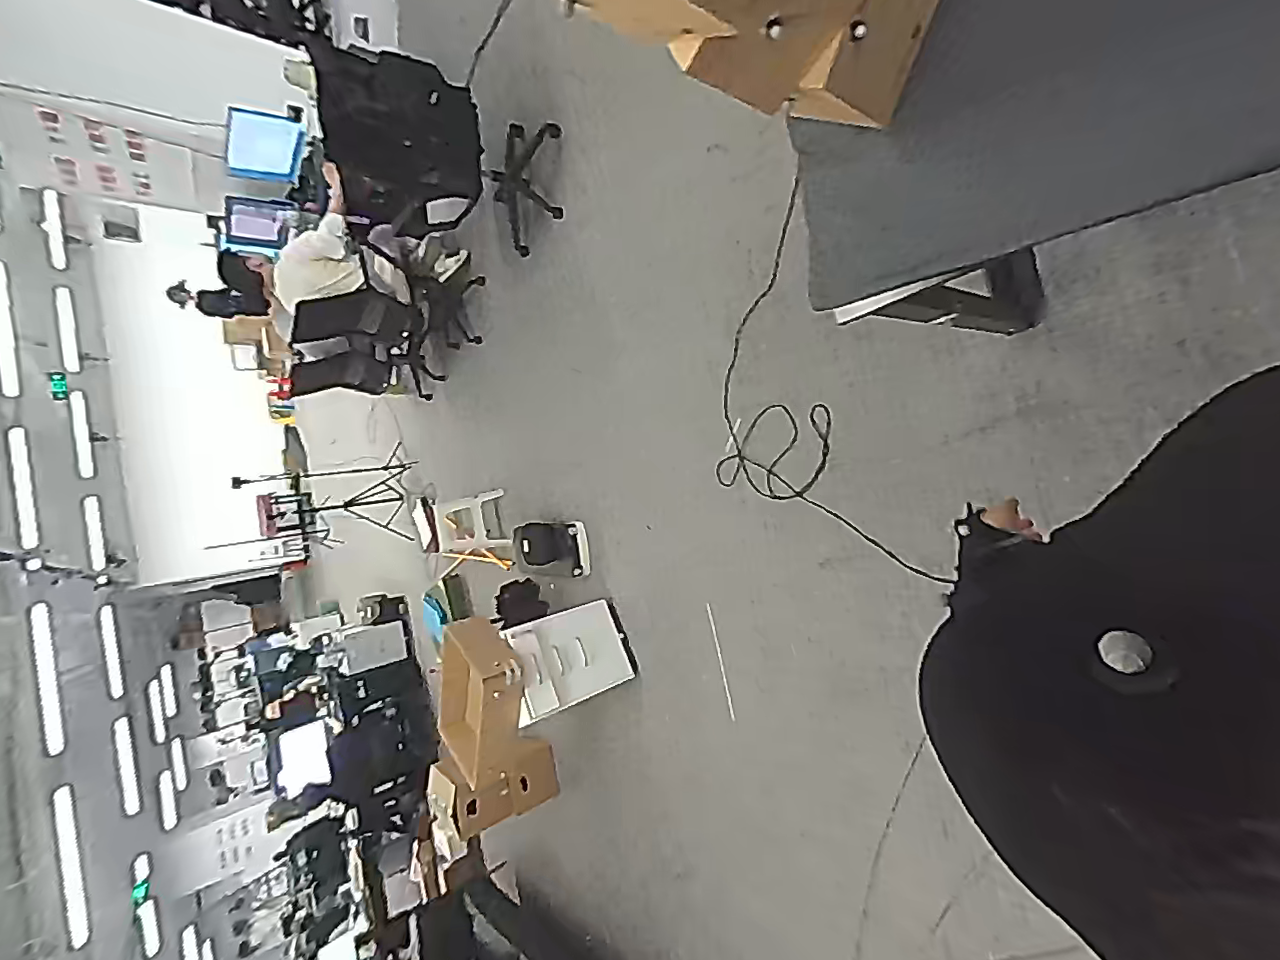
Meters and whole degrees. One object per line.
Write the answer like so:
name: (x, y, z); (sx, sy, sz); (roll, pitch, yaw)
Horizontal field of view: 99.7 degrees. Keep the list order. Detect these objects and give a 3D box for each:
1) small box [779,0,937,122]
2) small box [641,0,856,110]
small box: (0.251, -0.600, 0.720); (0.179, 0.176, 0.168); (41, 127, 38)
small box: (0.125, -0.575, 0.616); (0.179, 0.176, 0.168); (-41, 66, 47)
